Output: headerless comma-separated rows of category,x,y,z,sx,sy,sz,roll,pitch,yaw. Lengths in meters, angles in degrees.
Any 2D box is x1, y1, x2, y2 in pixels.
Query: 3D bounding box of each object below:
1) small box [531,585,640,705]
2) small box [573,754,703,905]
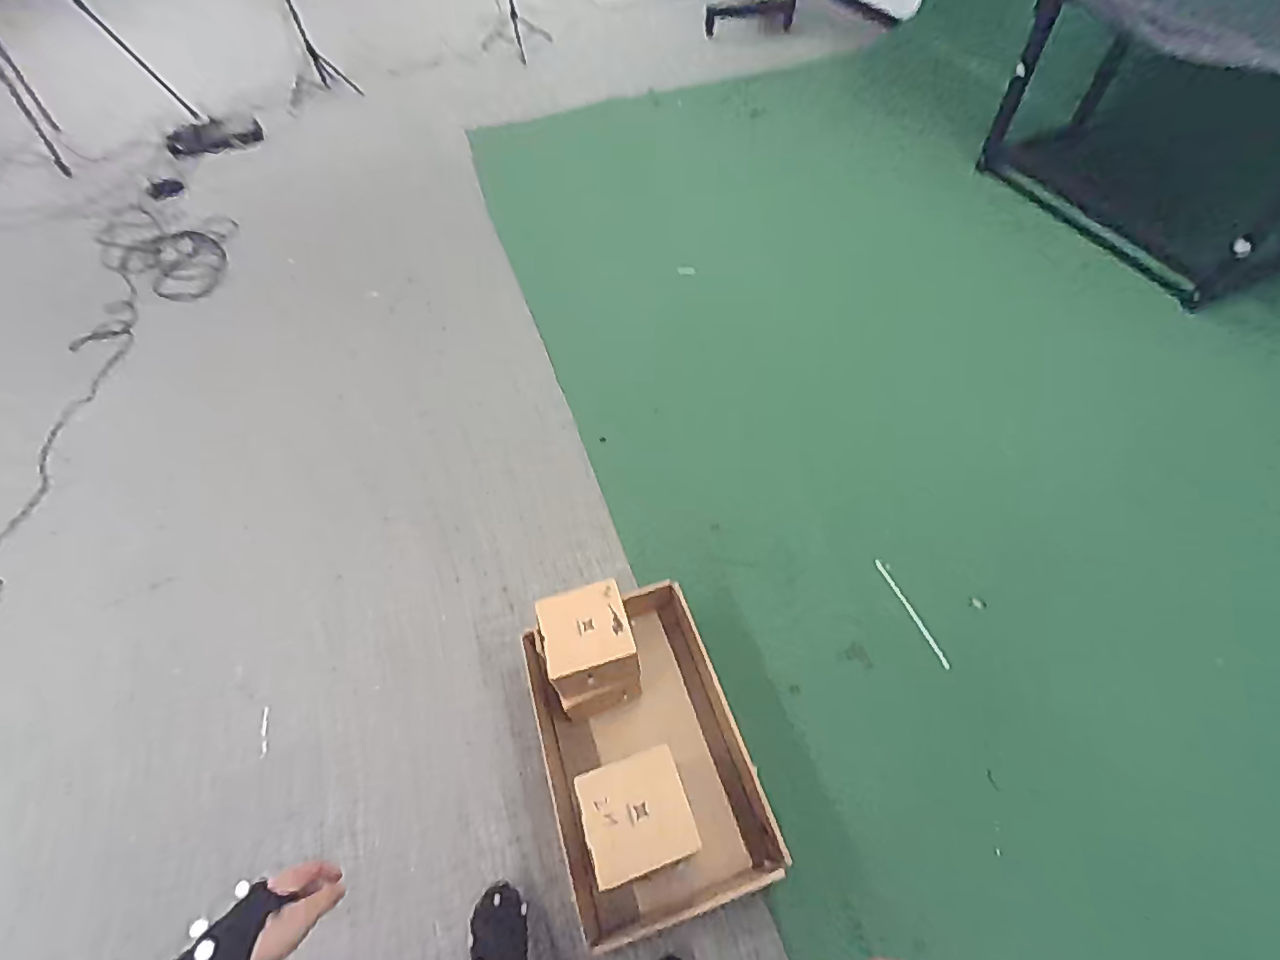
small box,-0.109,0.346,1.119,0.179,0.176,0.168,-16,56,-6
small box,-0.003,0.600,0.936,0.179,0.176,0.168,-18,55,-8
